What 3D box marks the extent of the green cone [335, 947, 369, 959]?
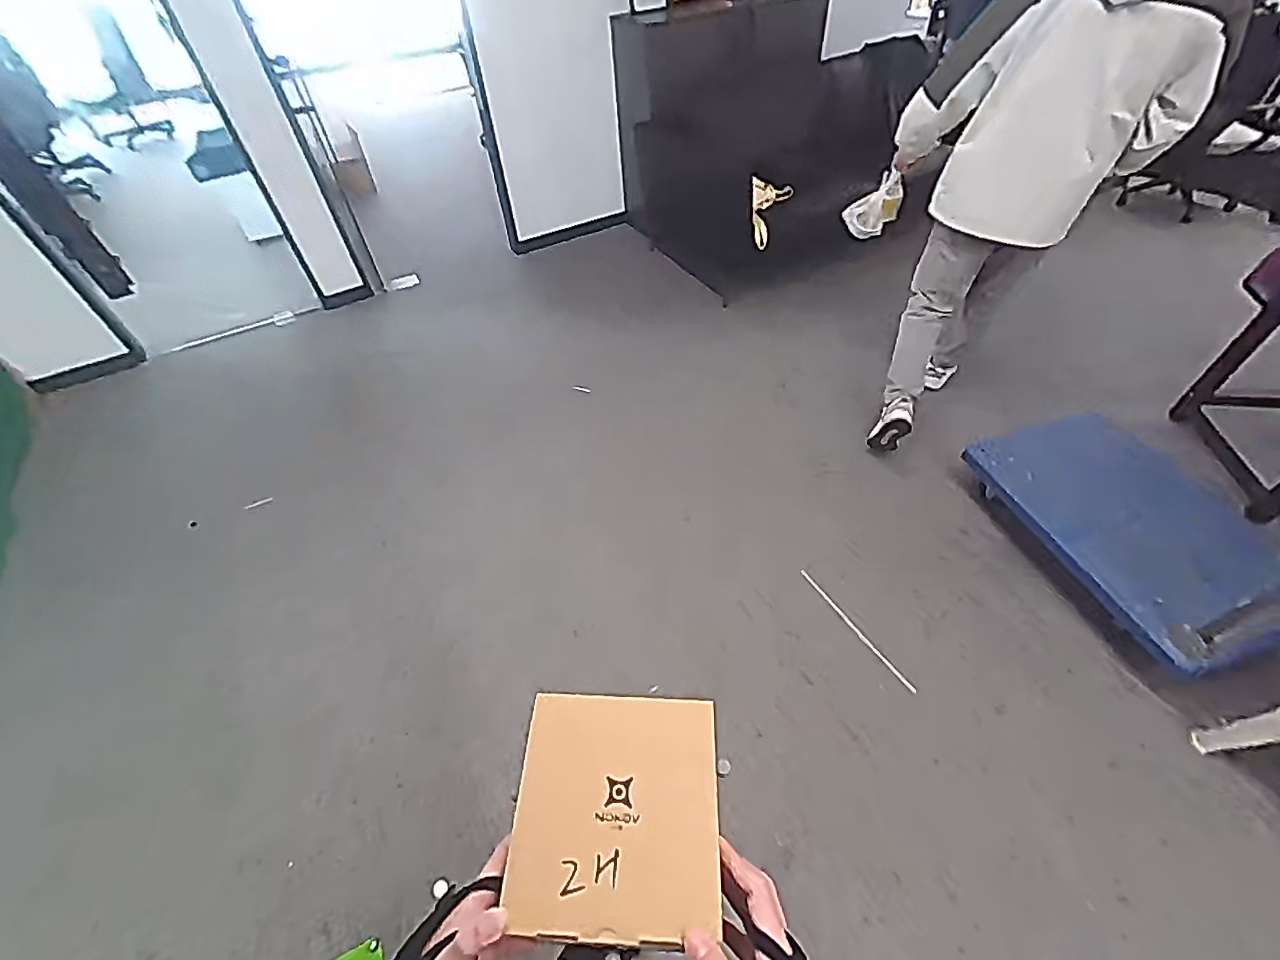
[{"bbox_3d":[-0.659,1.018,0.990,0.200,0.368,0.202,-23,52,-16],"label":"green cone"}]
